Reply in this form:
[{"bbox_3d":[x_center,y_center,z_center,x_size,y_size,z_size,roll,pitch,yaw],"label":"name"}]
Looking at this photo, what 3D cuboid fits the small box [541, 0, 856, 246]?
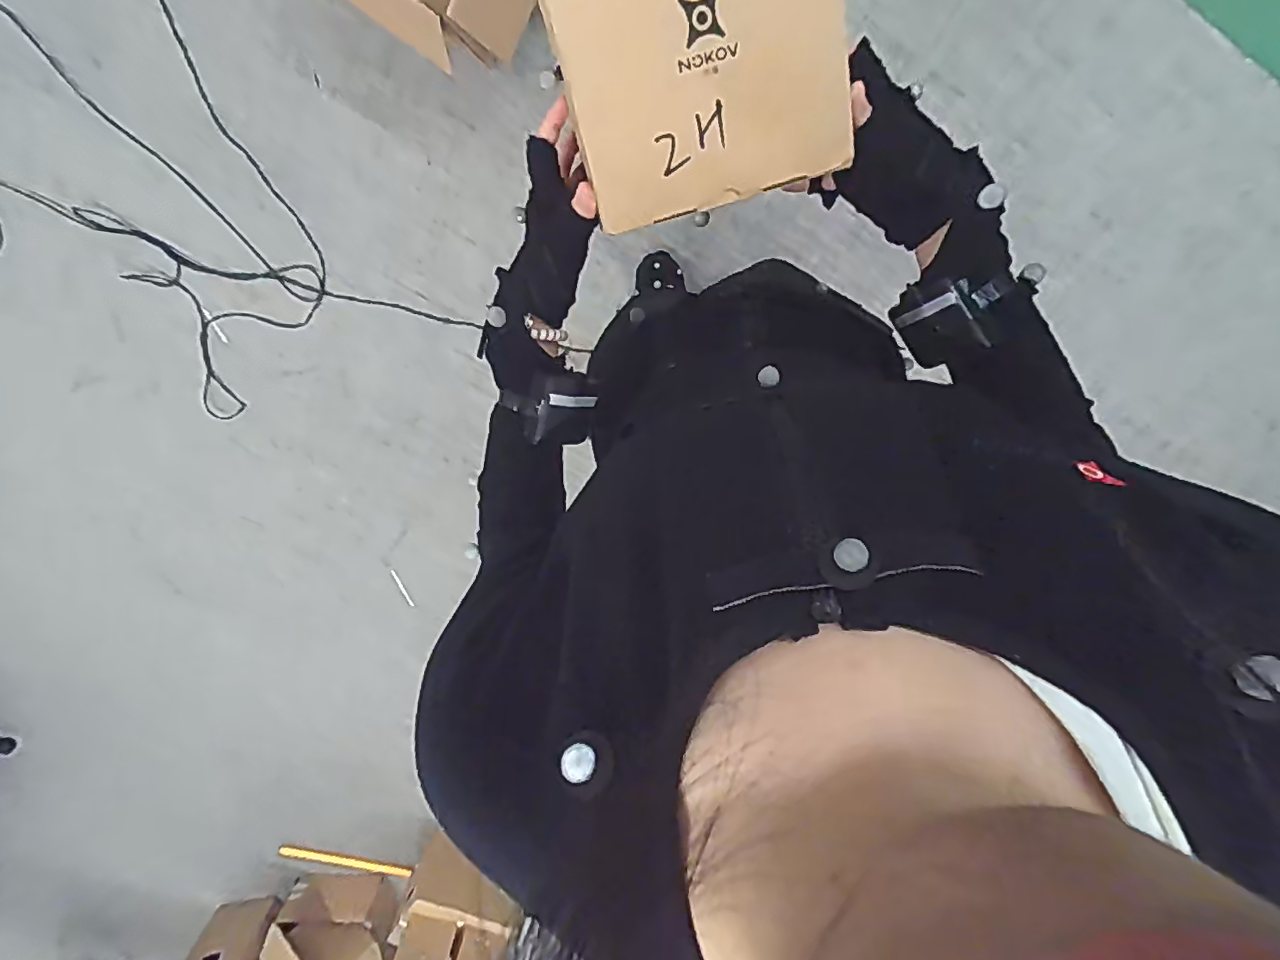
[{"bbox_3d":[0.030,-0.277,0.377,0.168,0.176,0.179,-15,117,3],"label":"small box"}]
